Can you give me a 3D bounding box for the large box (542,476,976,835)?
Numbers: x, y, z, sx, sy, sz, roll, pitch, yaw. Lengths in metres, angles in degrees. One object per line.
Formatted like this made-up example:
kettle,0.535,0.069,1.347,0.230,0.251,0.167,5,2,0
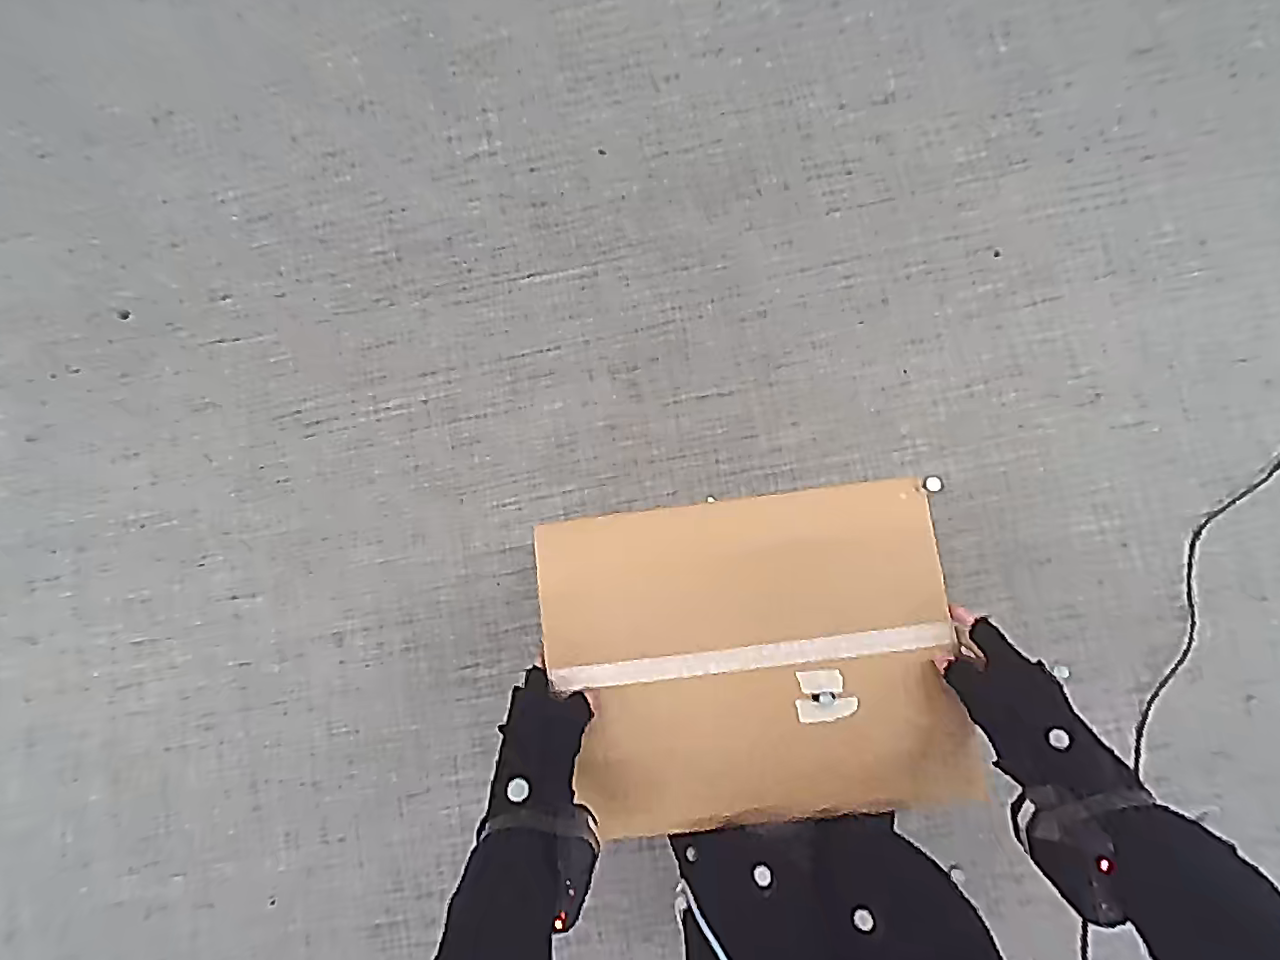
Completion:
large box,0.118,0.195,0.698,0.408,0.320,0.320,-8,83,2
